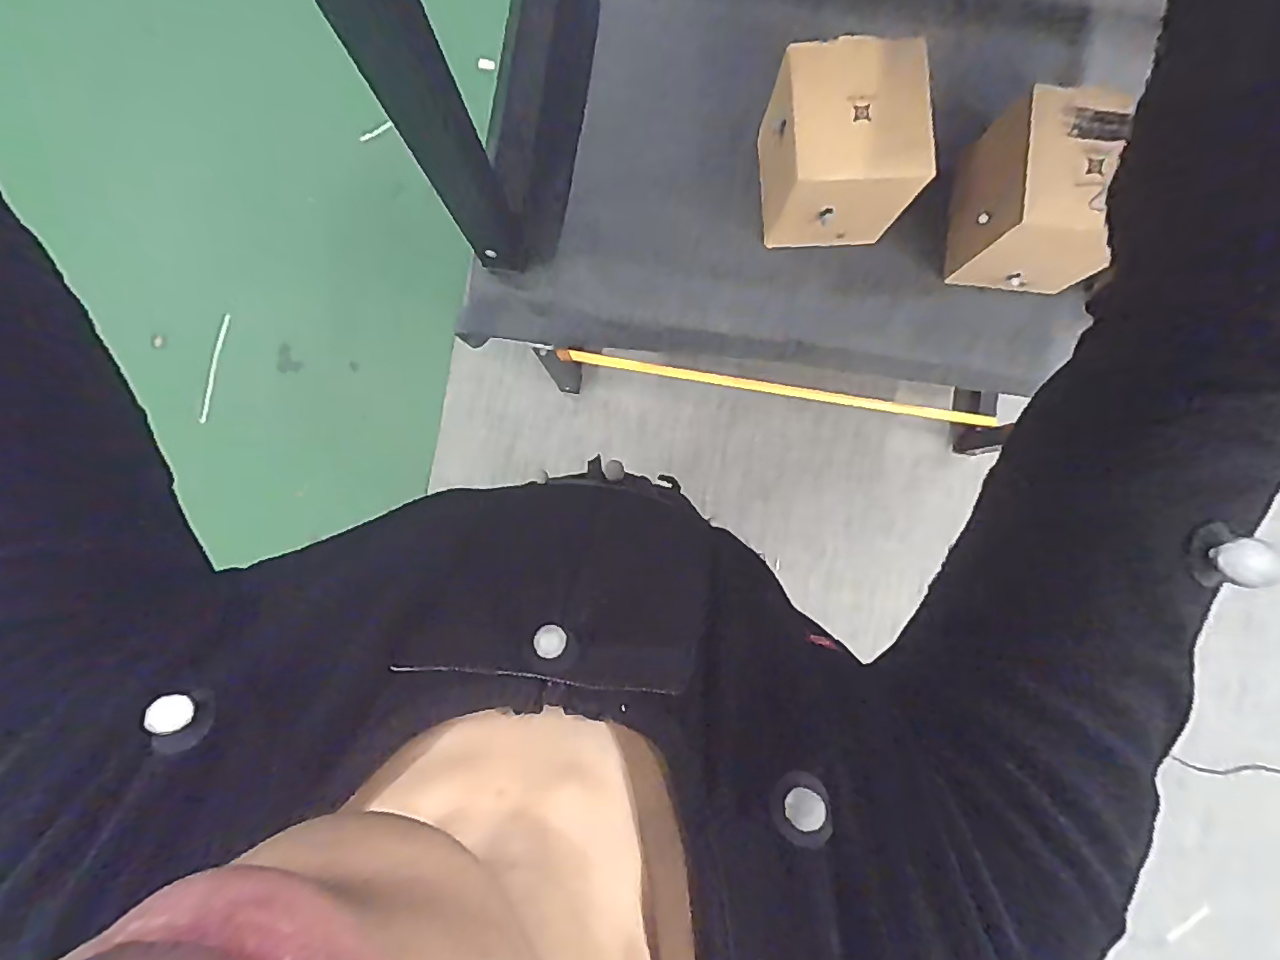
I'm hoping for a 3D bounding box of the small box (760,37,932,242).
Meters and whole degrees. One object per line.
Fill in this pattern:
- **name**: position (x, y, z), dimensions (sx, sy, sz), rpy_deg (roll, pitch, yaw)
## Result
- **small box**: position (0.261, -0.434, 0.721), dimensions (0.168, 0.176, 0.179), rpy_deg (-2, 86, 0)
